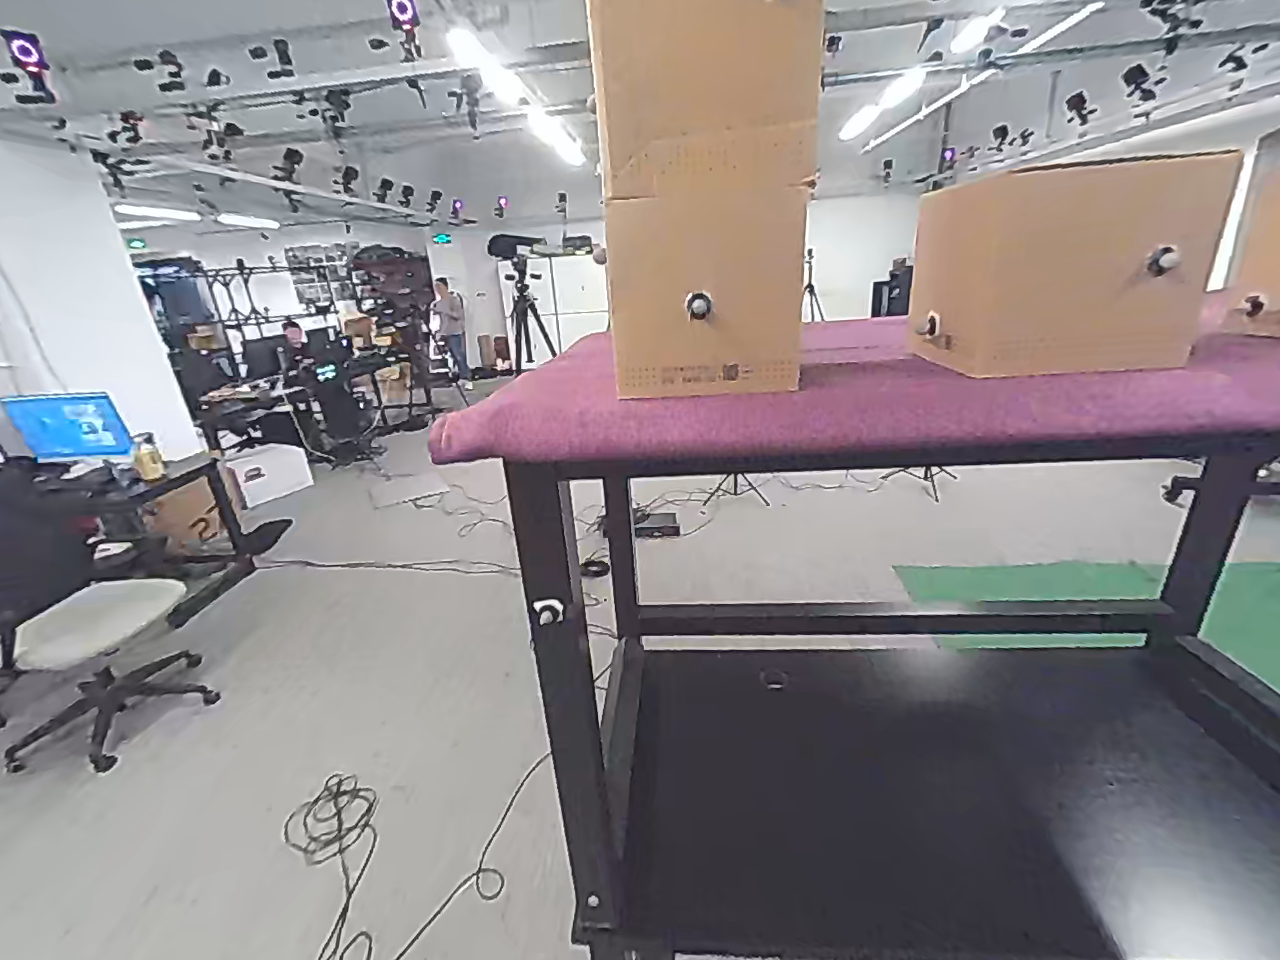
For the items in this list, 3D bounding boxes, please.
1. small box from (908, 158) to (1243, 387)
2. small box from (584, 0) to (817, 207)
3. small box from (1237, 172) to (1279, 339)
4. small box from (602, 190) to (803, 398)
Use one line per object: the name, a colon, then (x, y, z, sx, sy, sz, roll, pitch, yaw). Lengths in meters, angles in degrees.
small box: (0.381, -0.191, 0.516, 0.179, 0.176, 0.168, -3, 21, 5)
small box: (0.052, -0.330, 0.478, 0.179, 0.176, 0.168, -2, 23, 3)
small box: (0.729, -0.216, 0.503, 0.179, 0.176, 0.168, -2, 19, 7)
small box: (0.061, -0.179, 0.539, 0.168, 0.176, 0.179, -1, 22, 4)
